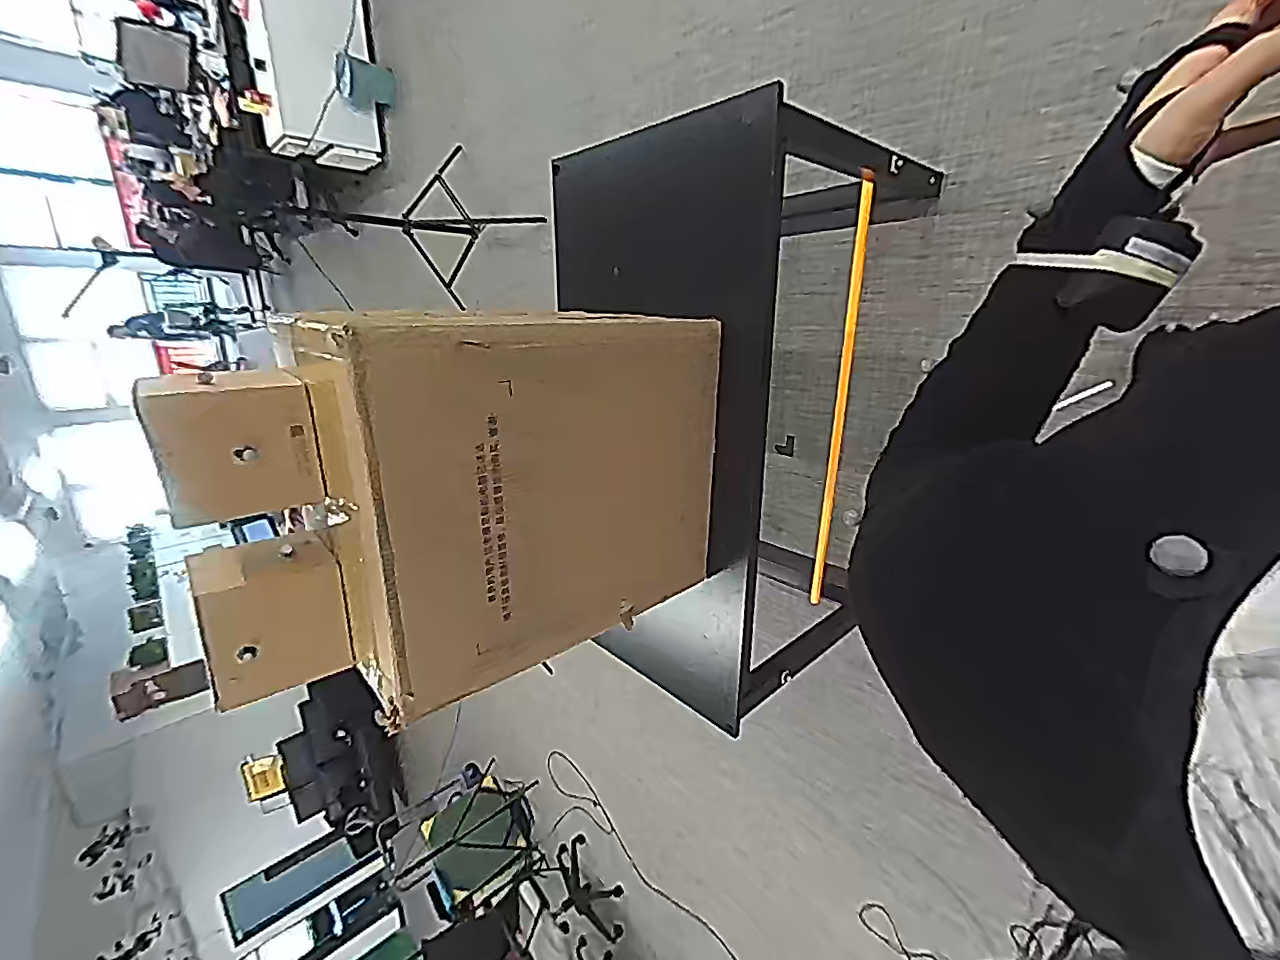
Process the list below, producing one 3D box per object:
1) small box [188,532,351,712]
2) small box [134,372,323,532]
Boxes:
[{"bbox_3d":[-0.544,0.197,0.803,0.168,0.176,0.179,19,113,45],"label":"small box"},{"bbox_3d":[-0.546,-0.051,0.731,0.179,0.176,0.168,21,117,45],"label":"small box"}]
